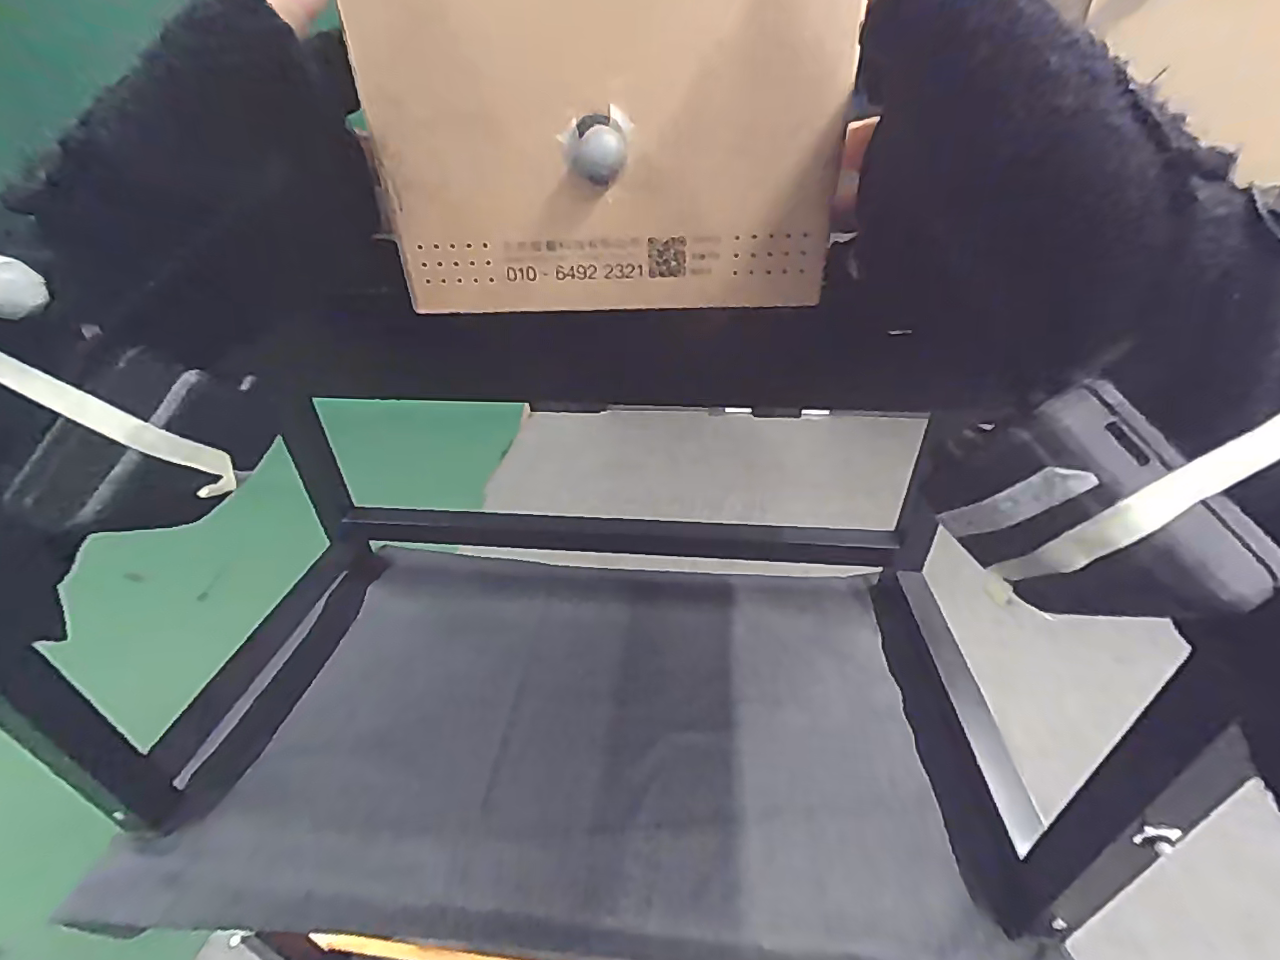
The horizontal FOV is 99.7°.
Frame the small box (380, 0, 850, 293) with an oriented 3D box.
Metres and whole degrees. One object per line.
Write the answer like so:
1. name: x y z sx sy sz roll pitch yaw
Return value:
1. small box: -0.009 -0.193 0.254 0.168 0.176 0.179 -1 33 3
